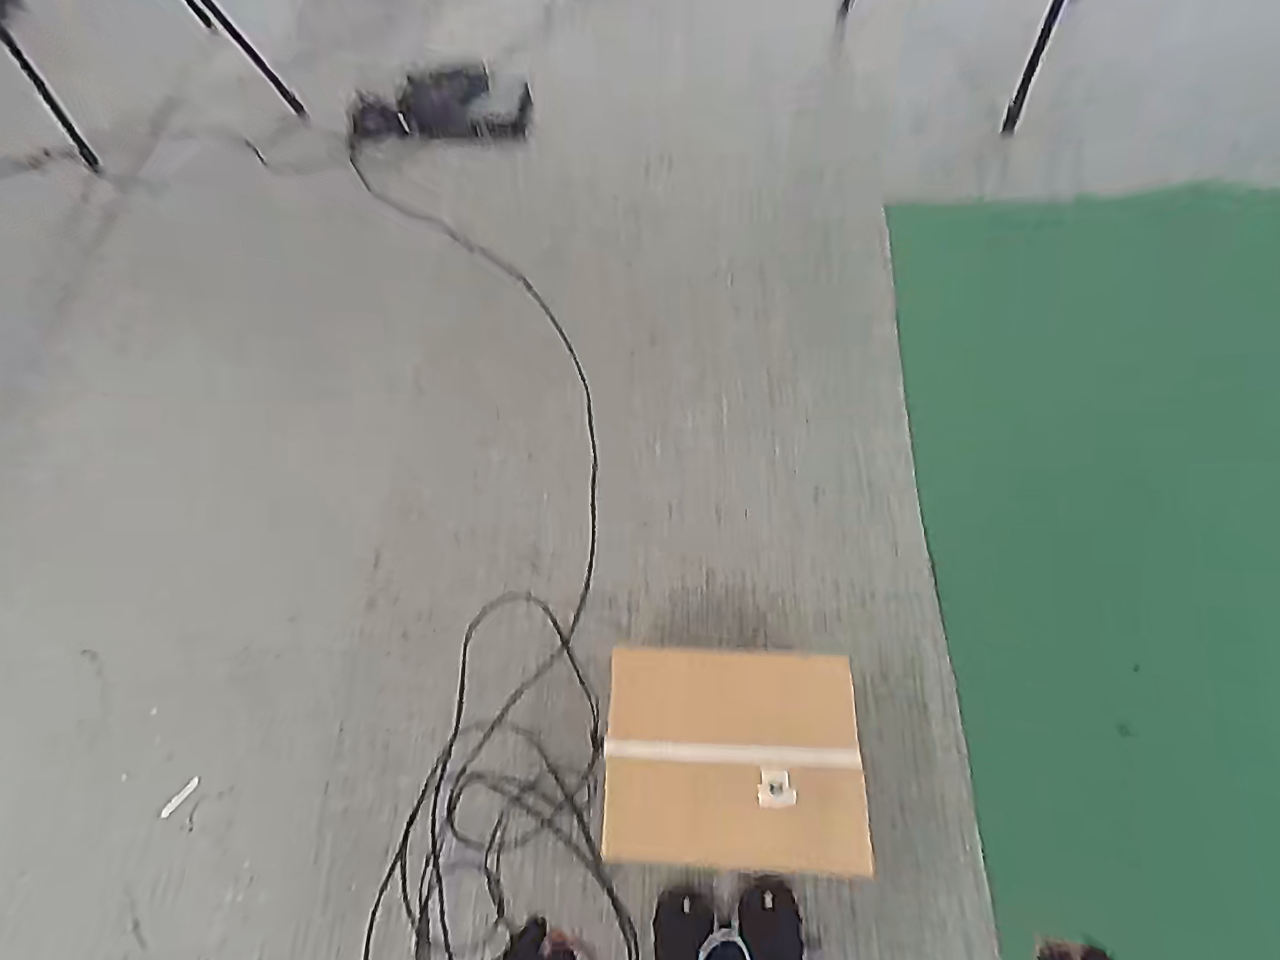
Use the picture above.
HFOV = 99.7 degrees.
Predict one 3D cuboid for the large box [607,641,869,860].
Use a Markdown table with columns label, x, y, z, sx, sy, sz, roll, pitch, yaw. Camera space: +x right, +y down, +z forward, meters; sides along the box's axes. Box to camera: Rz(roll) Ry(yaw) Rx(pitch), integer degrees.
| label | x | y | z | sx | sy | sz | roll | pitch | yaw |
| --- | --- | --- | --- | --- | --- | --- | --- | --- | --- |
| large box | 0.156 | 0.482 | 1.008 | 0.408 | 0.320 | 0.320 | 1 | 68 | 4 |
